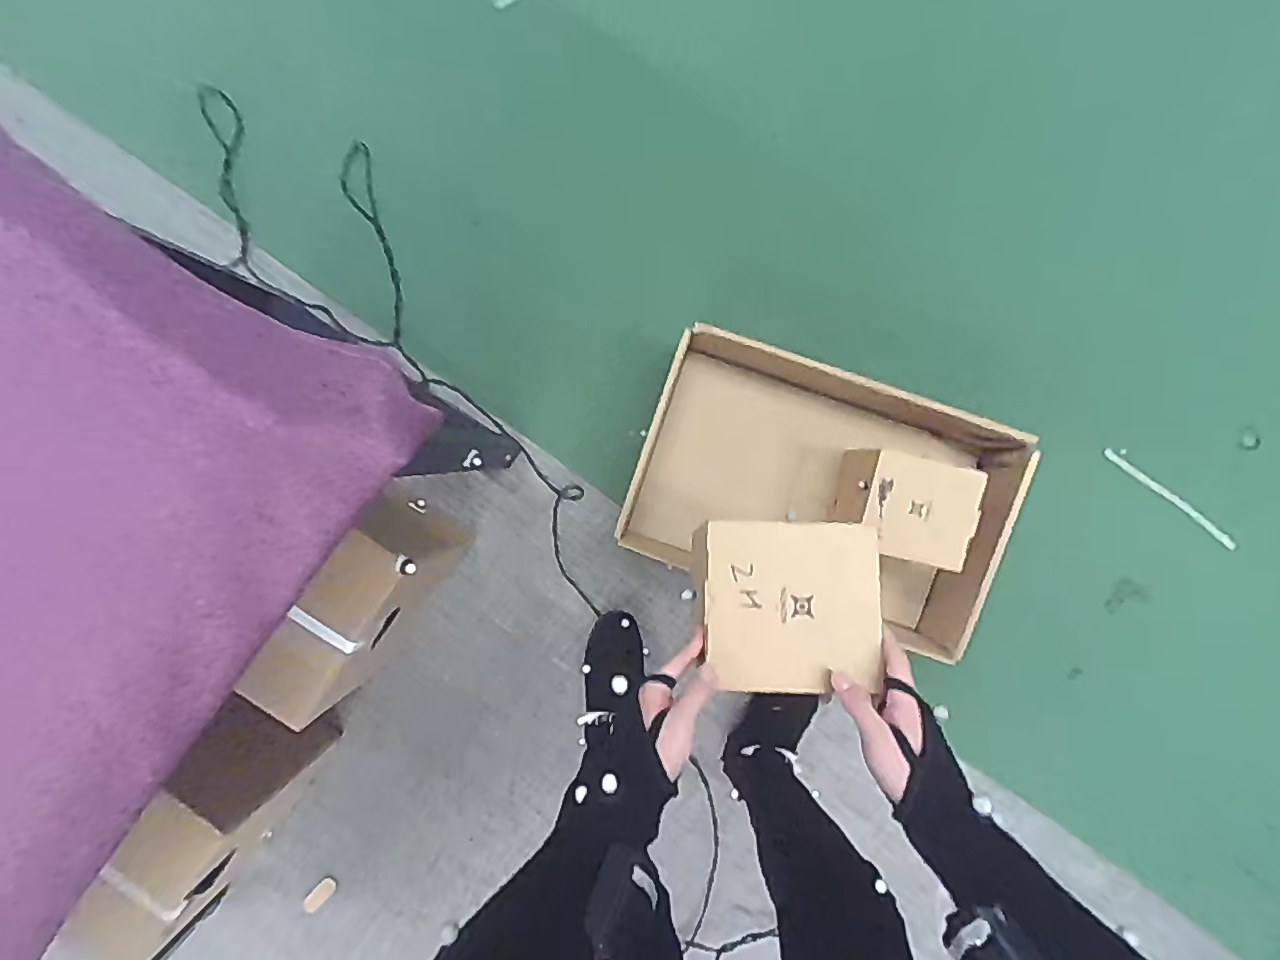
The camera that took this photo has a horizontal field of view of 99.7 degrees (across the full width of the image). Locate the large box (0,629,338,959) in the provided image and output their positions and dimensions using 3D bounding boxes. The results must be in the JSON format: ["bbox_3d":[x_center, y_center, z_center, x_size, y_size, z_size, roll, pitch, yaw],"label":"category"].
[{"bbox_3d":[-0.867,0.544,0.979,0.408,0.320,0.320,36,92,2],"label":"large box"}]

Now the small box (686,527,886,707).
[{"bbox_3d":[0.146,0.142,0.597,0.179,0.176,0.168,1,80,1],"label":"small box"}]
